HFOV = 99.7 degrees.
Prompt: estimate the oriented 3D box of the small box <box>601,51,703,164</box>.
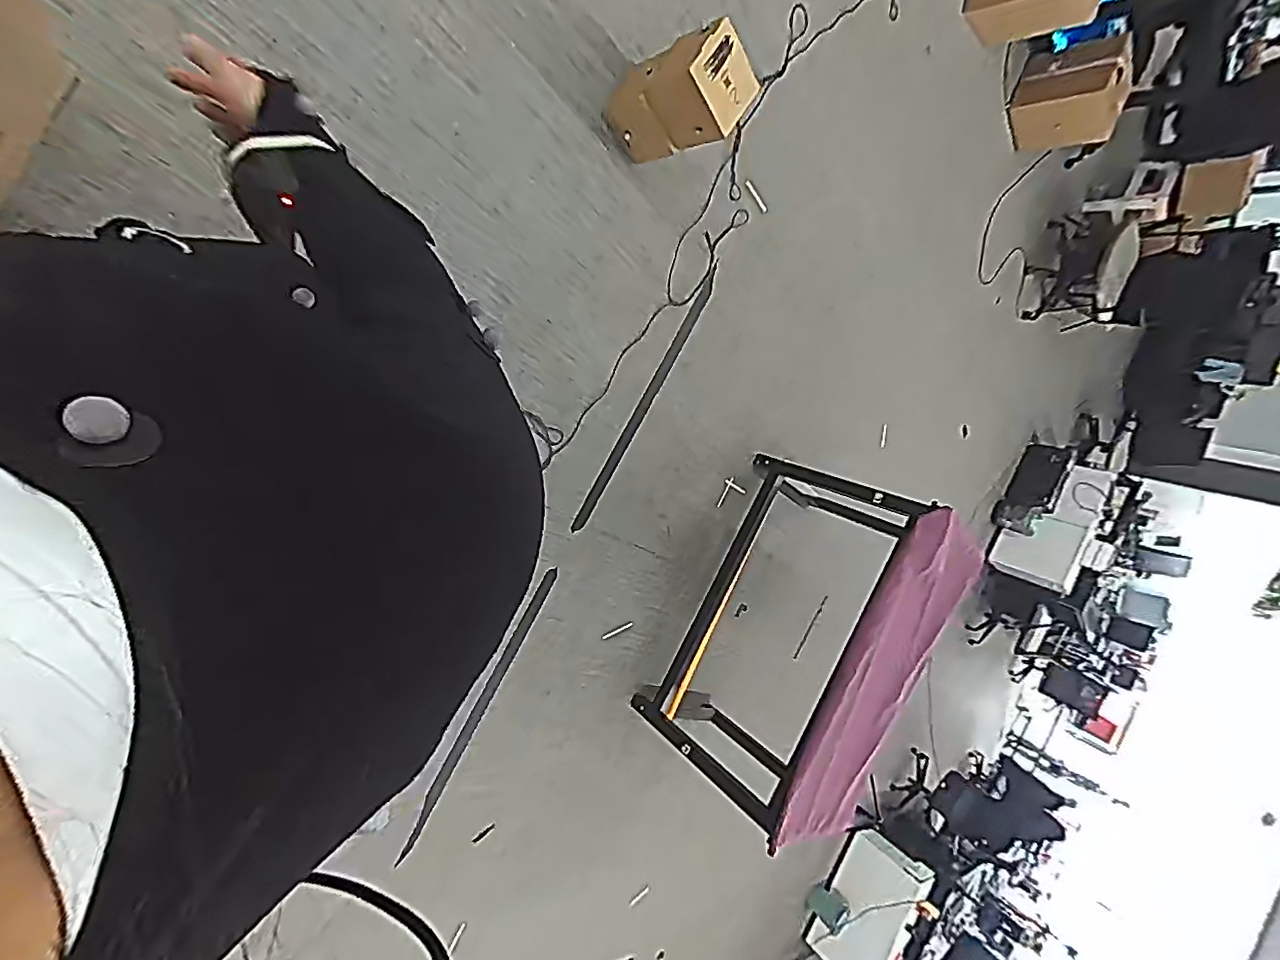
[{"bbox_3d":[0.029,-0.978,1.434,0.168,0.176,0.179,40,80,-42],"label":"small box"}]
